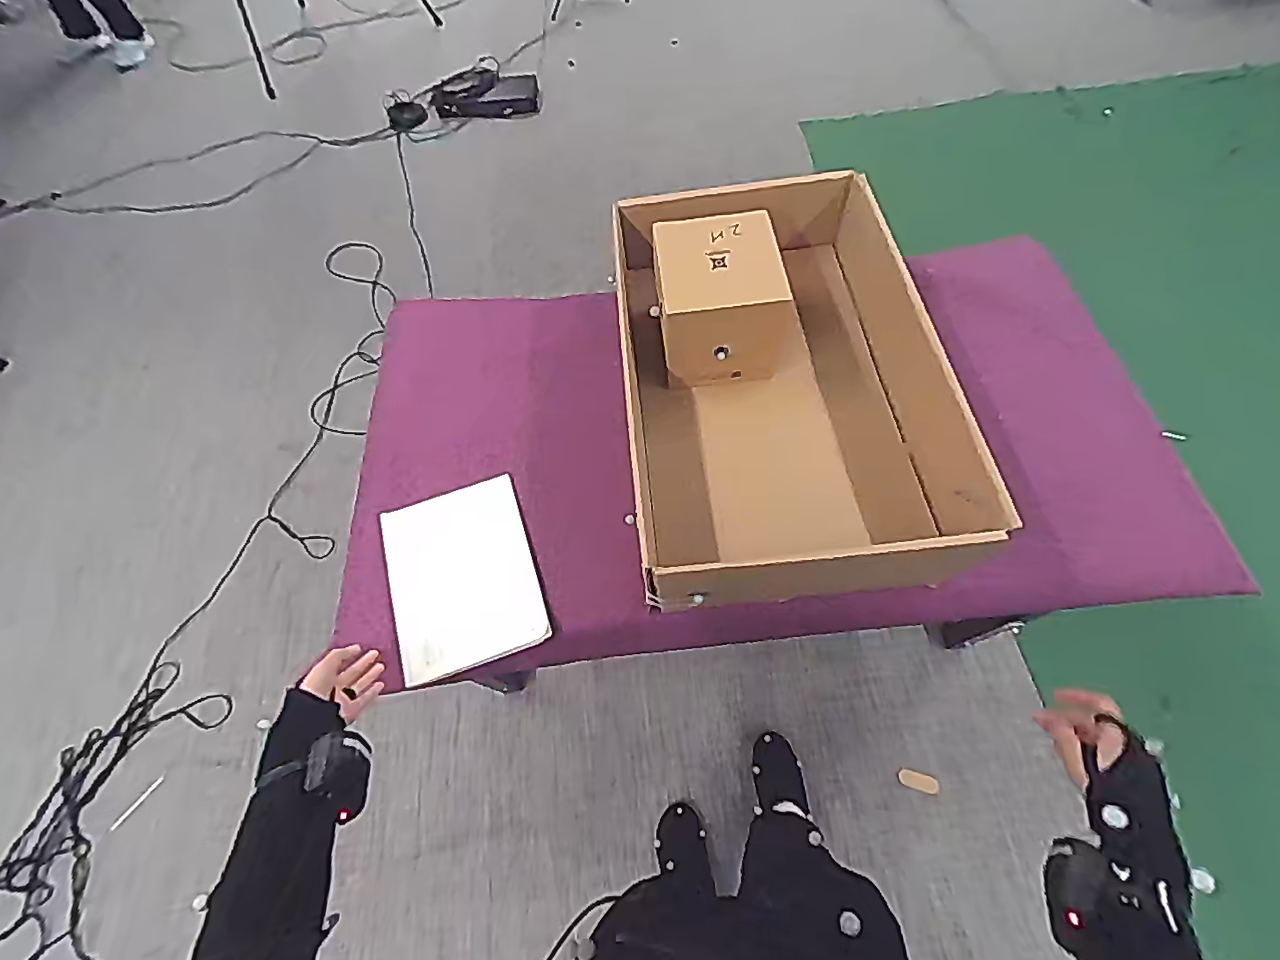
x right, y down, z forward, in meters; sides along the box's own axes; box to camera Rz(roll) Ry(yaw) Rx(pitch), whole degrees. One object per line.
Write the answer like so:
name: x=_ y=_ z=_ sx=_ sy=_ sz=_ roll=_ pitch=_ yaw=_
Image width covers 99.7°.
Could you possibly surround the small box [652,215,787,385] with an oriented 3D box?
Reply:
small box: x=0.110 y=-0.256 z=0.804 sx=0.168 sy=0.176 sz=0.179 roll=-6 pitch=63 yaw=1
